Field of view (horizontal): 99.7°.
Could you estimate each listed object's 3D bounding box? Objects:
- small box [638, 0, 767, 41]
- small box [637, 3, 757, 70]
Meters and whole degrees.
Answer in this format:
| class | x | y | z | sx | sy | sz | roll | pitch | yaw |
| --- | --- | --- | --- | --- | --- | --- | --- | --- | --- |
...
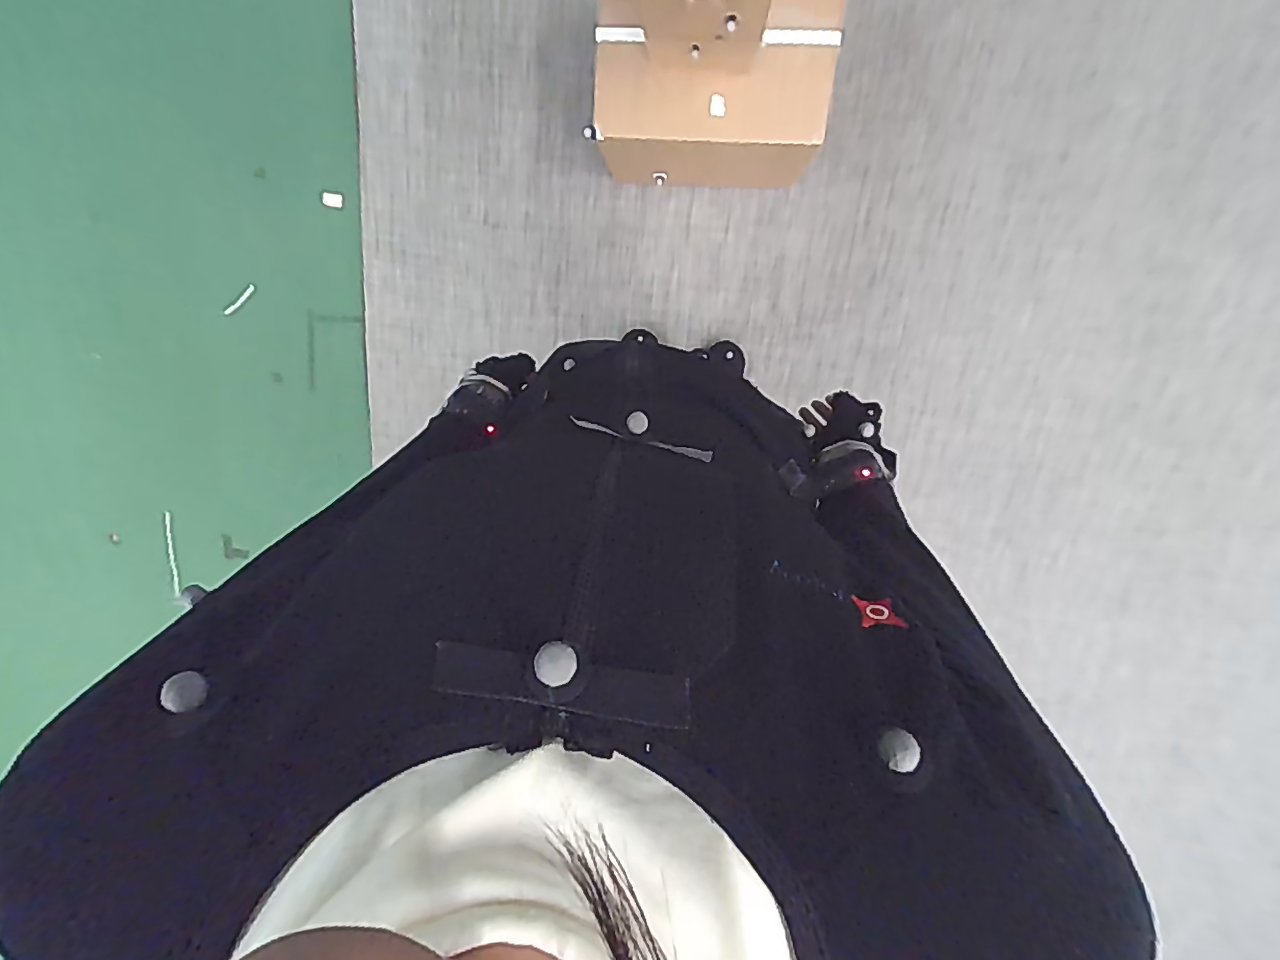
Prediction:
| class | x | y | z | sx | sy | sz | roll | pitch | yaw |
| --- | --- | --- | --- | --- | --- | --- | --- | --- | --- |
| small box | 0.085 | -0.679 | 0.668 | 0.168 | 0.176 | 0.179 | 5 | 111 | 3 |
| small box | 0.102 | -0.749 | 0.811 | 0.179 | 0.176 | 0.168 | 12 | 111 | 2 |
